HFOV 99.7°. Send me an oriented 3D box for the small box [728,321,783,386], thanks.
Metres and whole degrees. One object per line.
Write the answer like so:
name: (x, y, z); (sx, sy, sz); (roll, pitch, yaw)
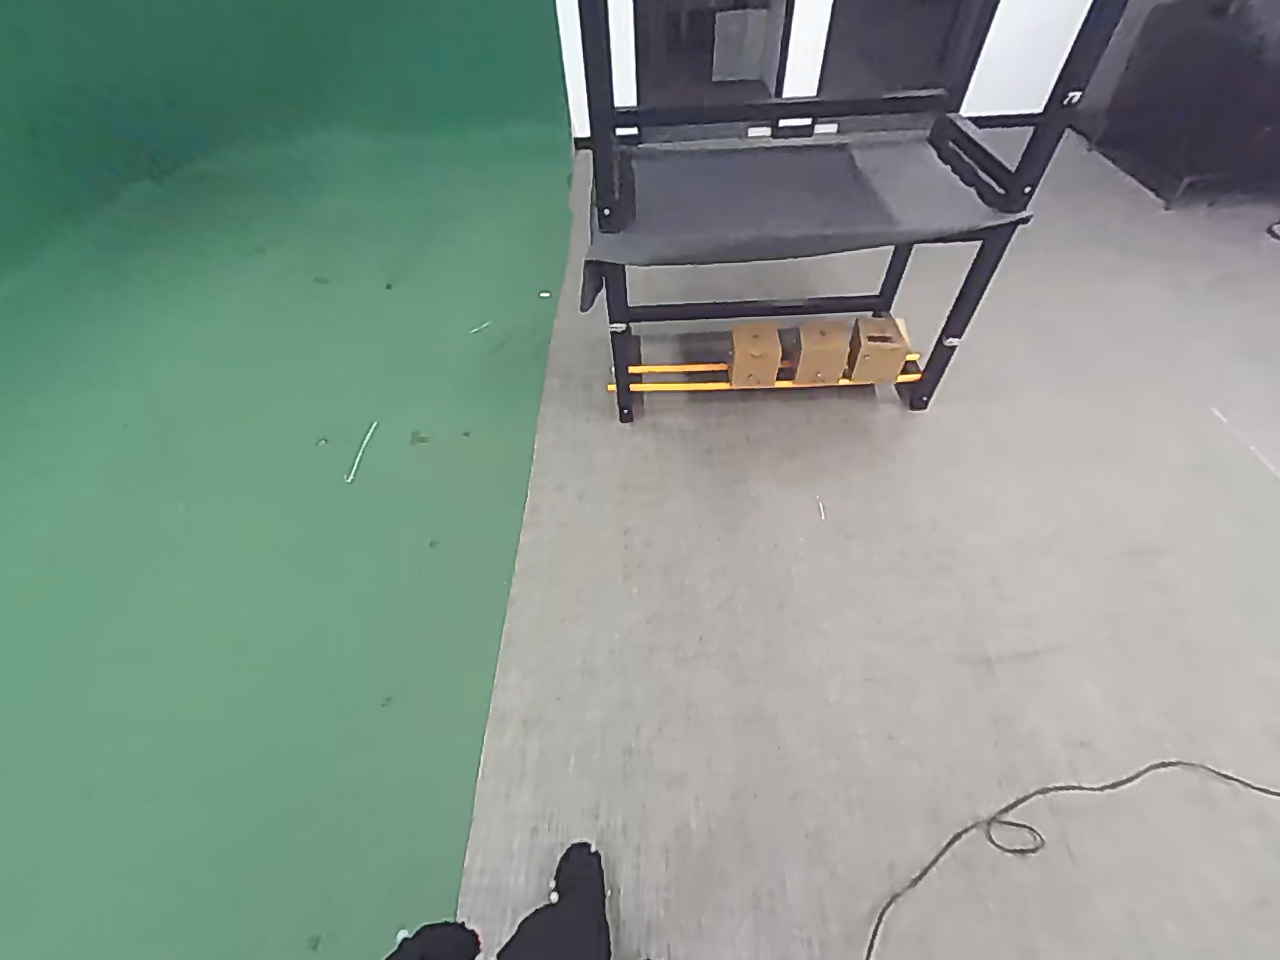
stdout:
small box: (0.424, -0.469, 2.010); (0.168, 0.176, 0.179); (0, 53, 2)
